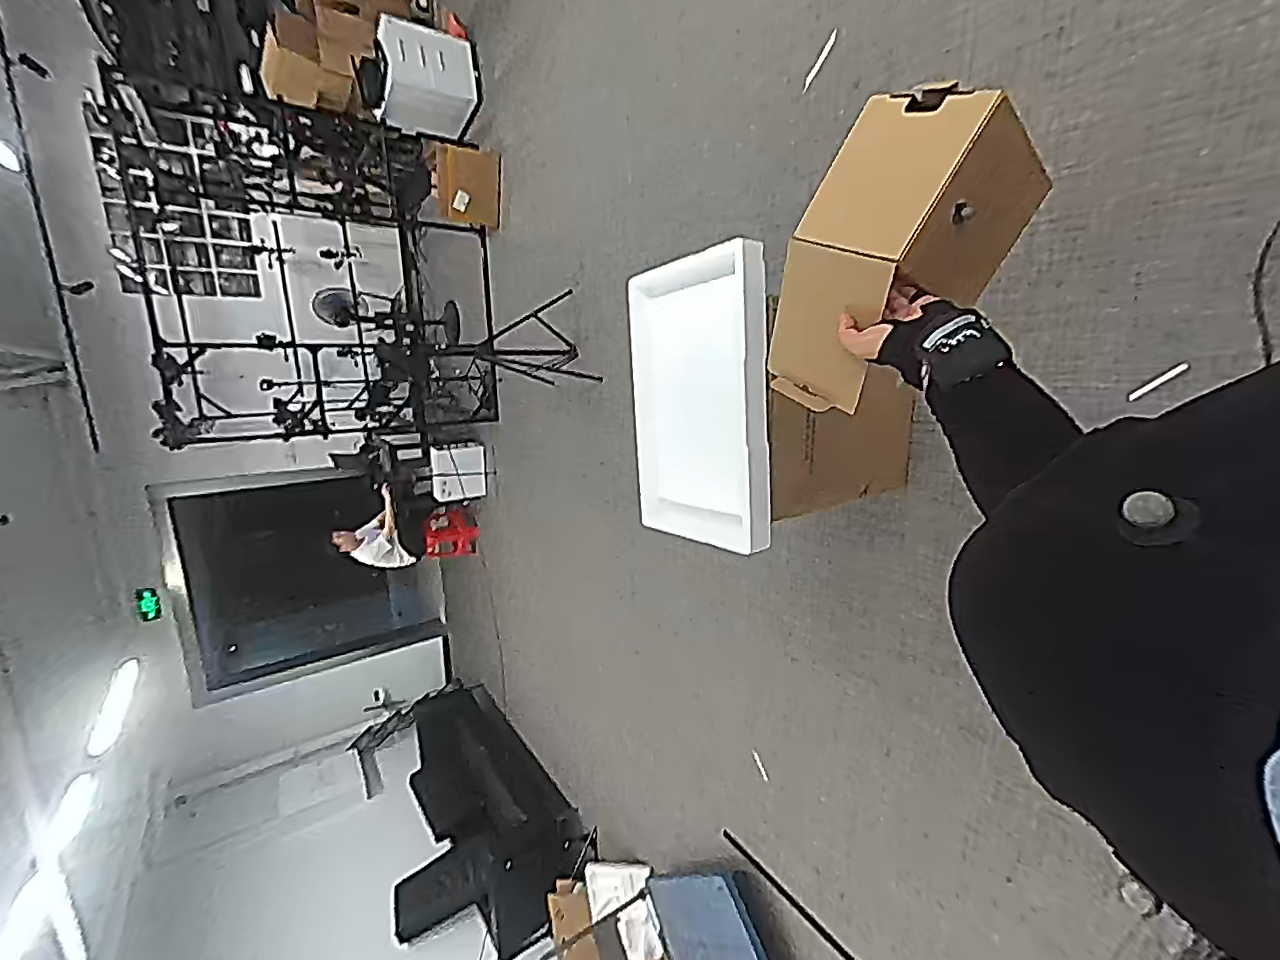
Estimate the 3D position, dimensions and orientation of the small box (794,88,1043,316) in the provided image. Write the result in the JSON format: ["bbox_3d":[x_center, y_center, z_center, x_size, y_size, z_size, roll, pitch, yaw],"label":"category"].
[{"bbox_3d":[0.328,-0.320,0.641,0.168,0.176,0.179,47,114,48],"label":"small box"}]
